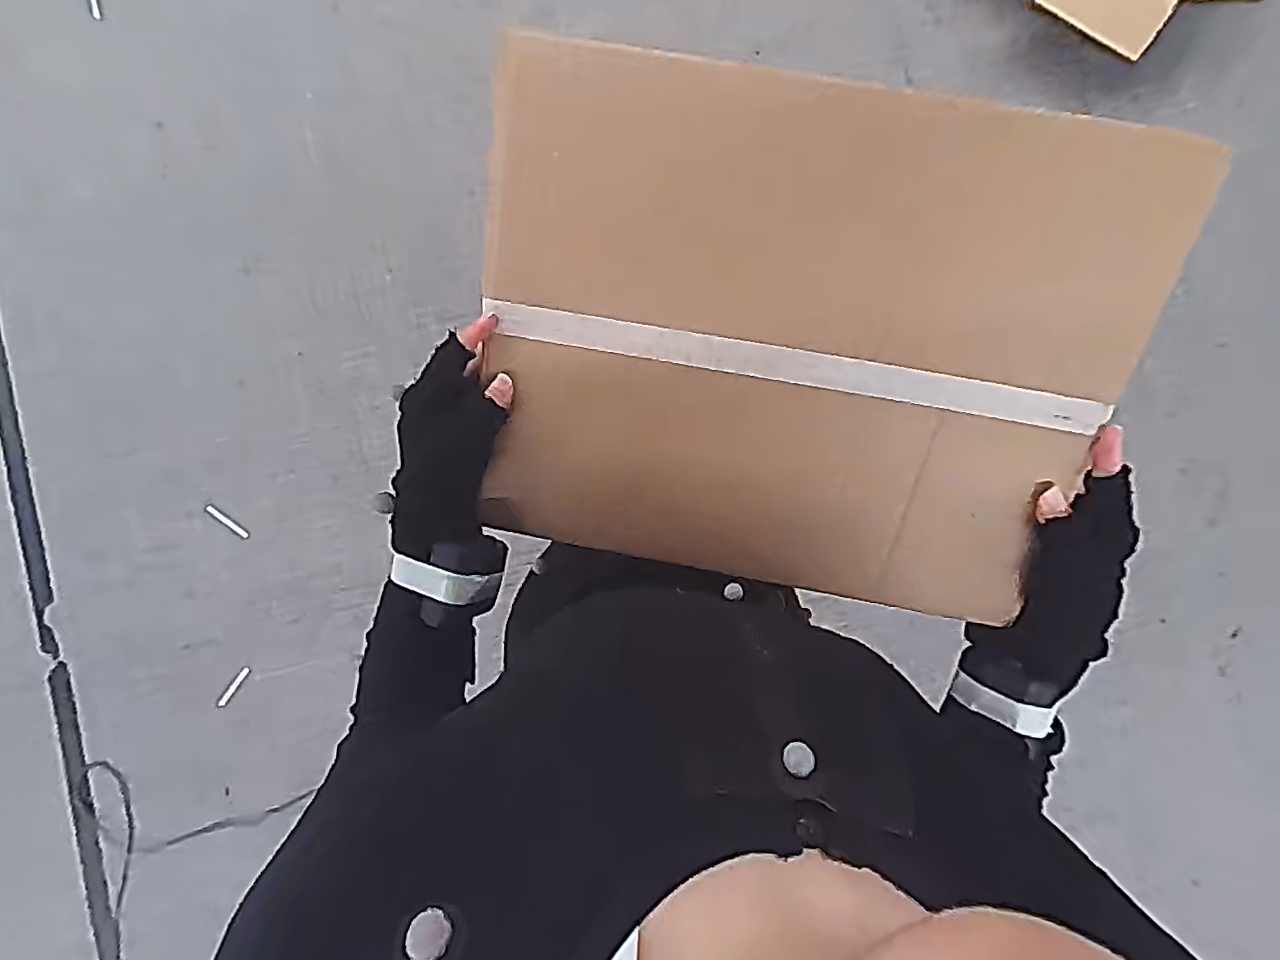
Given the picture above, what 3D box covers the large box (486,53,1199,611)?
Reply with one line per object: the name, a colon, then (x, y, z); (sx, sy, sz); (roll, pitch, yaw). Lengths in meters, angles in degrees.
large box: (0.109, -0.125, 0.500); (0.408, 0.320, 0.320); (11, 111, 2)
